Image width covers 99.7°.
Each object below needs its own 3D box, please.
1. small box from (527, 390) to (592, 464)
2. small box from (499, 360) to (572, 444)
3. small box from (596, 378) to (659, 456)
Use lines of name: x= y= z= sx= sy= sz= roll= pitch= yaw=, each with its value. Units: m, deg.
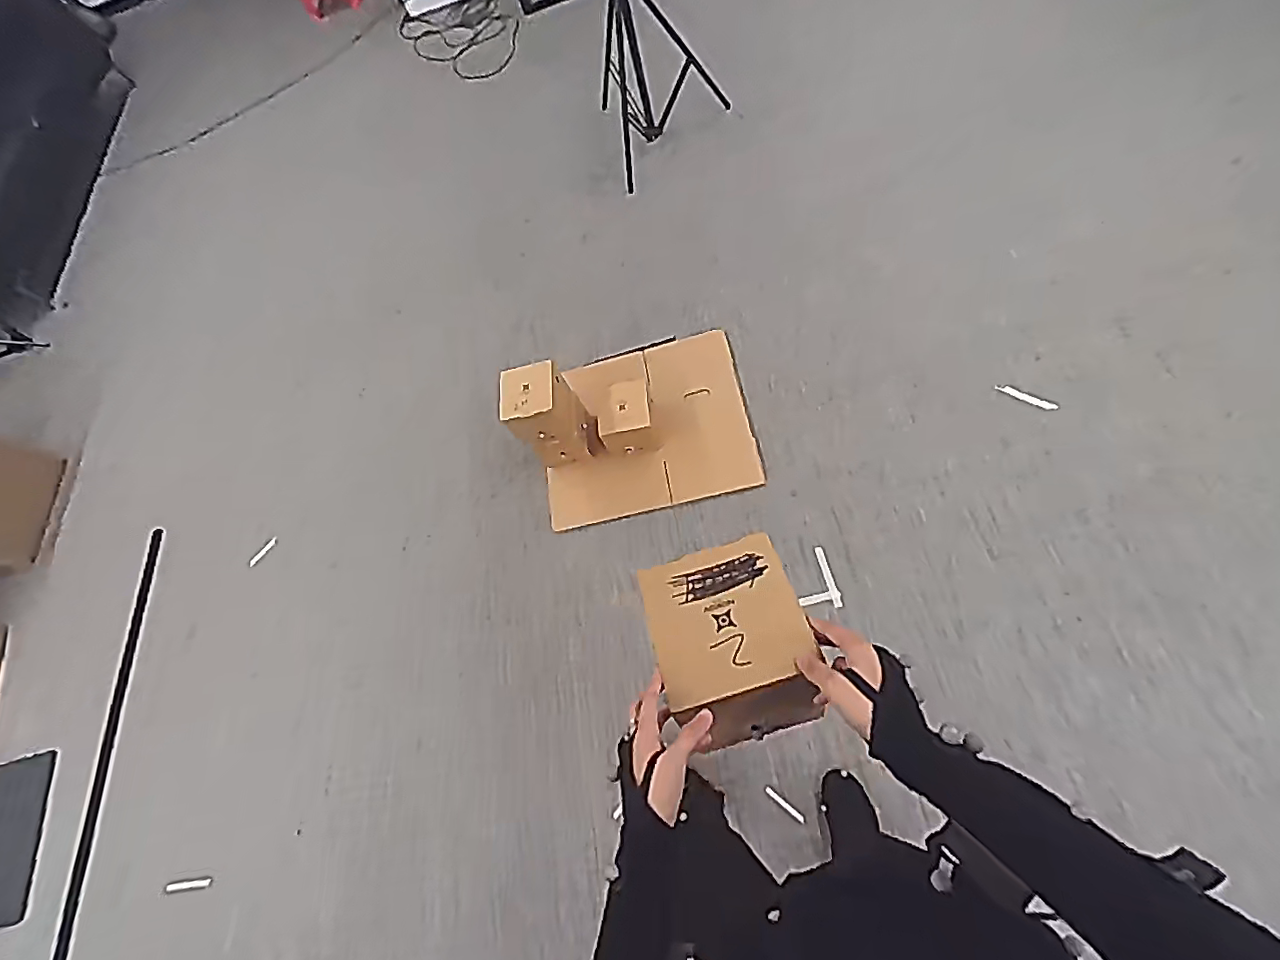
small box: x=-0.264 y=-0.165 z=1.780 sx=0.168 sy=0.176 sz=0.179 roll=-12 pitch=66 yaw=10
small box: x=-0.312 y=-0.232 z=1.636 sx=0.168 sy=0.176 sz=0.179 roll=-11 pitch=66 yaw=11
small box: x=-0.039 y=-0.198 z=1.737 sx=0.168 sy=0.176 sz=0.179 roll=-10 pitch=65 yaw=10
